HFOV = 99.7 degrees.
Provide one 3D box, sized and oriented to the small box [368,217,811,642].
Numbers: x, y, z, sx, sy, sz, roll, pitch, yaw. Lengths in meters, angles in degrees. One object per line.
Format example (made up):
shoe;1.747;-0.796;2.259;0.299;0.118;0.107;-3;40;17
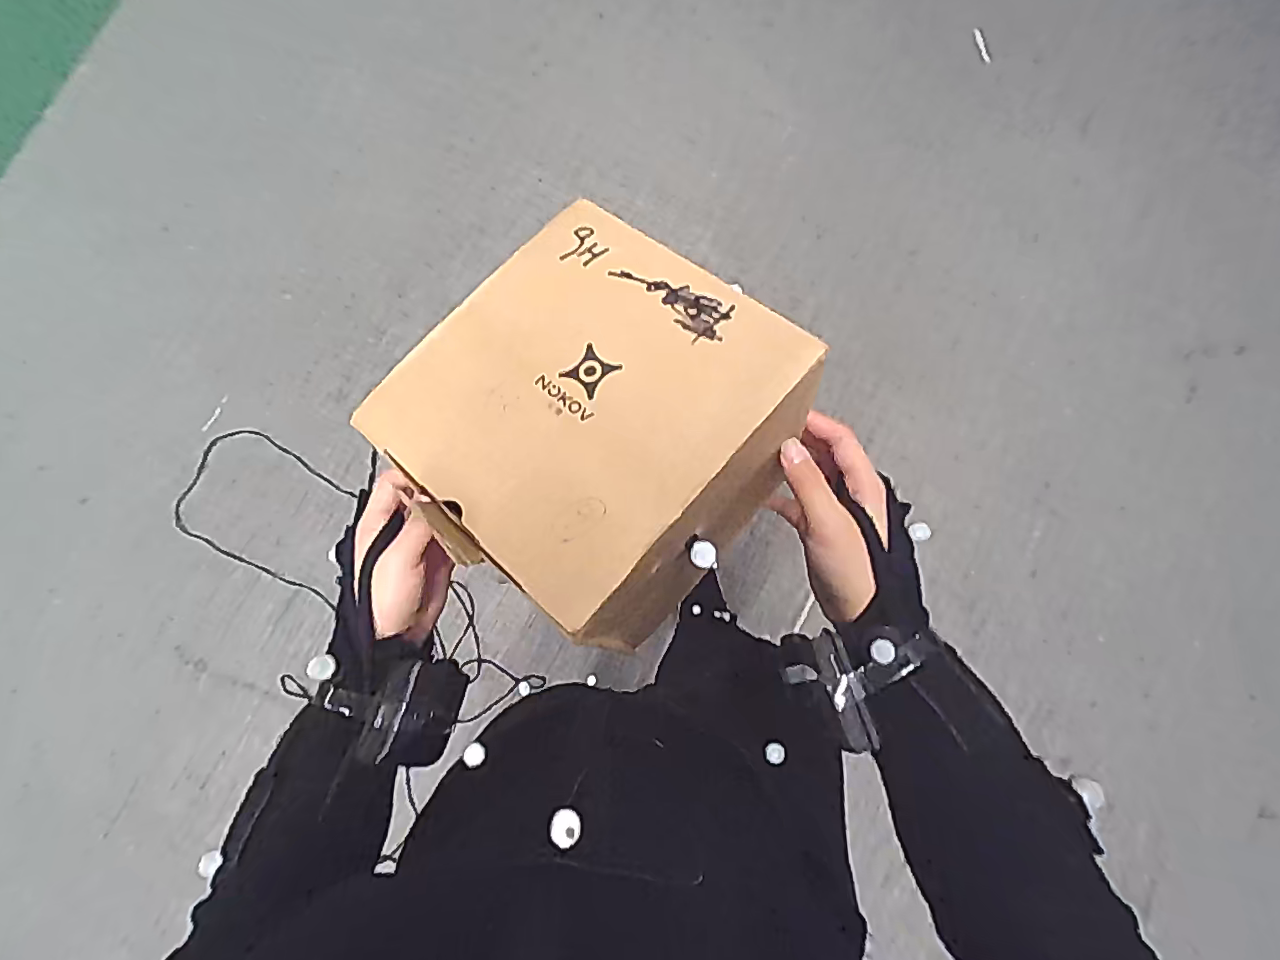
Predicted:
small box;-0.018;-0.015;0.346;0.168;0.176;0.179;38;80;19
